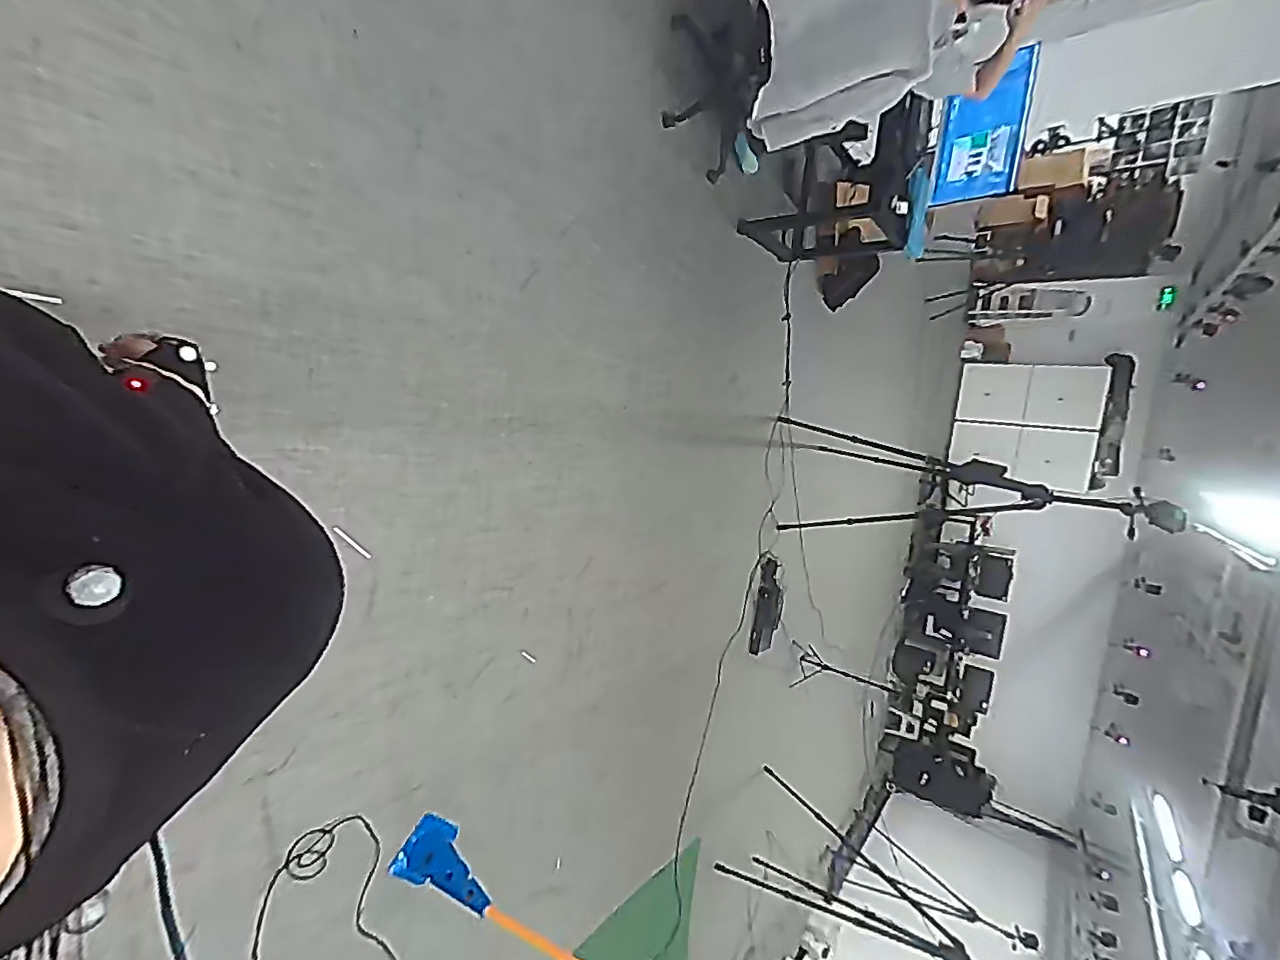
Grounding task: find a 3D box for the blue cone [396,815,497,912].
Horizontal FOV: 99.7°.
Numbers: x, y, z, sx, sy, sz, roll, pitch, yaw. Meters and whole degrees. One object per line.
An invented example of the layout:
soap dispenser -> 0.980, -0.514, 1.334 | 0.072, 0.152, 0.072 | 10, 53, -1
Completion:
blue cone -> -0.609, 1.296, 1.780 | 0.193, 0.380, 0.192 | -57, 137, -30
